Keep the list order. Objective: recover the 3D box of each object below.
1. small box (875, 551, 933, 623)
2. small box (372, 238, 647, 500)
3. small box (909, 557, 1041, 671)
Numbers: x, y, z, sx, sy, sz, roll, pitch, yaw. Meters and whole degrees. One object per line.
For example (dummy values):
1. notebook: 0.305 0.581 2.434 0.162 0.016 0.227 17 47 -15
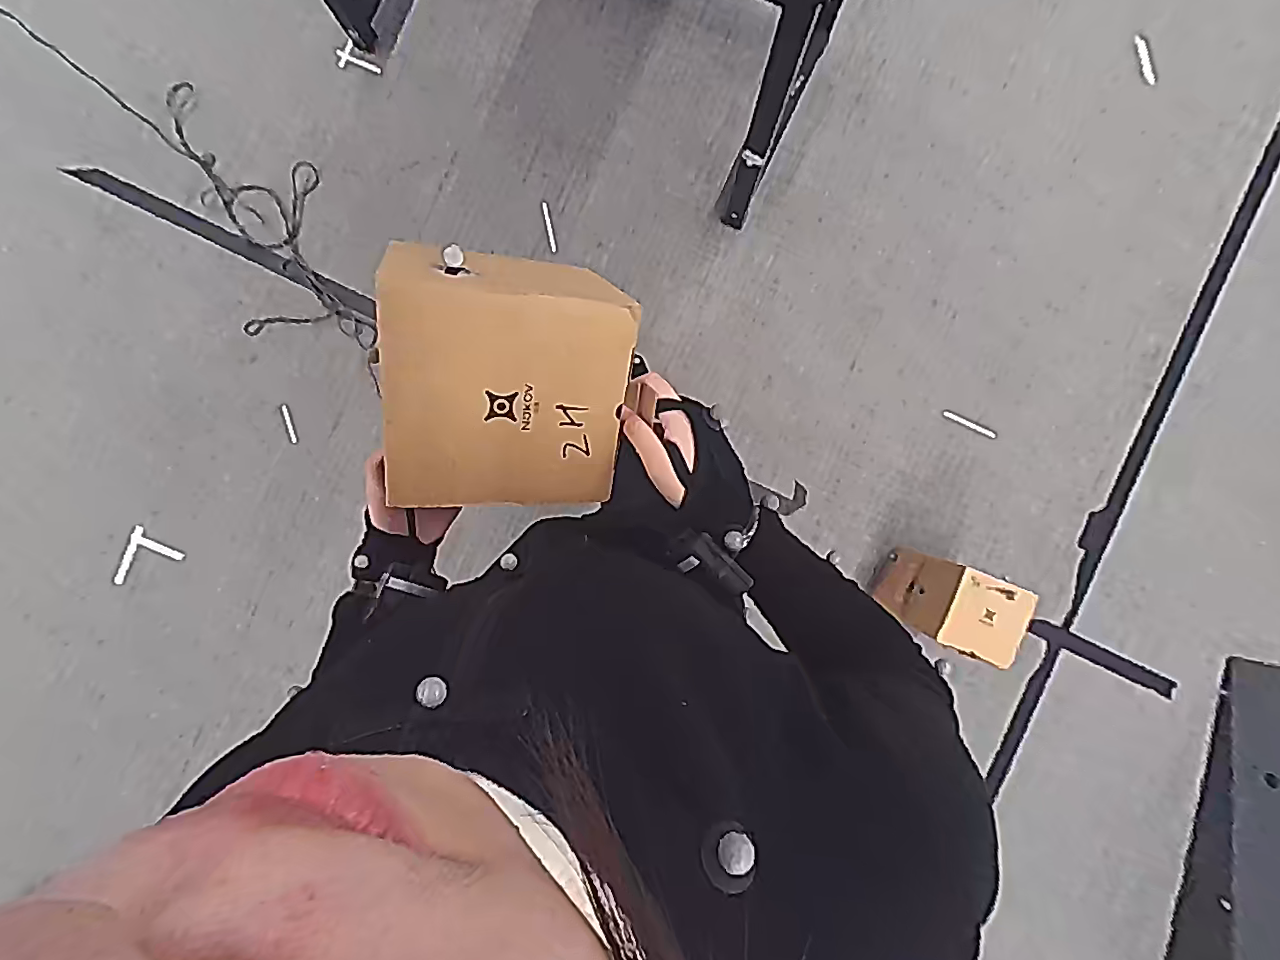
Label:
1. small box: 0.738 0.294 1.382 0.179 0.176 0.168 27 91 0
2. small box: -0.115 -0.096 0.447 0.179 0.176 0.168 -1 119 -22
3. small box: 0.739 0.292 1.217 0.168 0.176 0.179 22 91 1
